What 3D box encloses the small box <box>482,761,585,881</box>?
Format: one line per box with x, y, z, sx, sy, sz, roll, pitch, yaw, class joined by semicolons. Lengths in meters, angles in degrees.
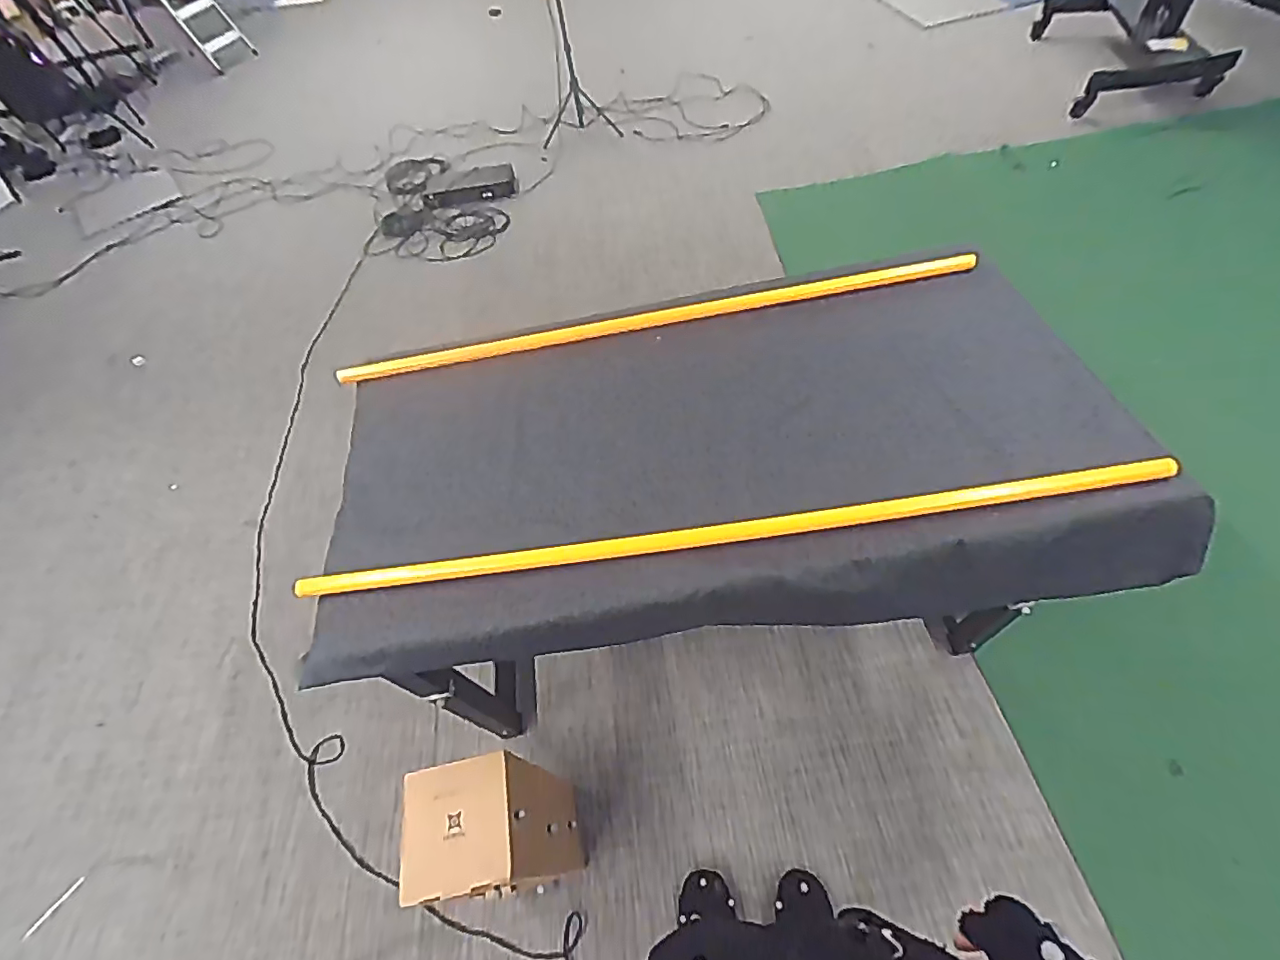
-0.226;0.728;1.156;0.168;0.176;0.179;-17;56;-3;small box
